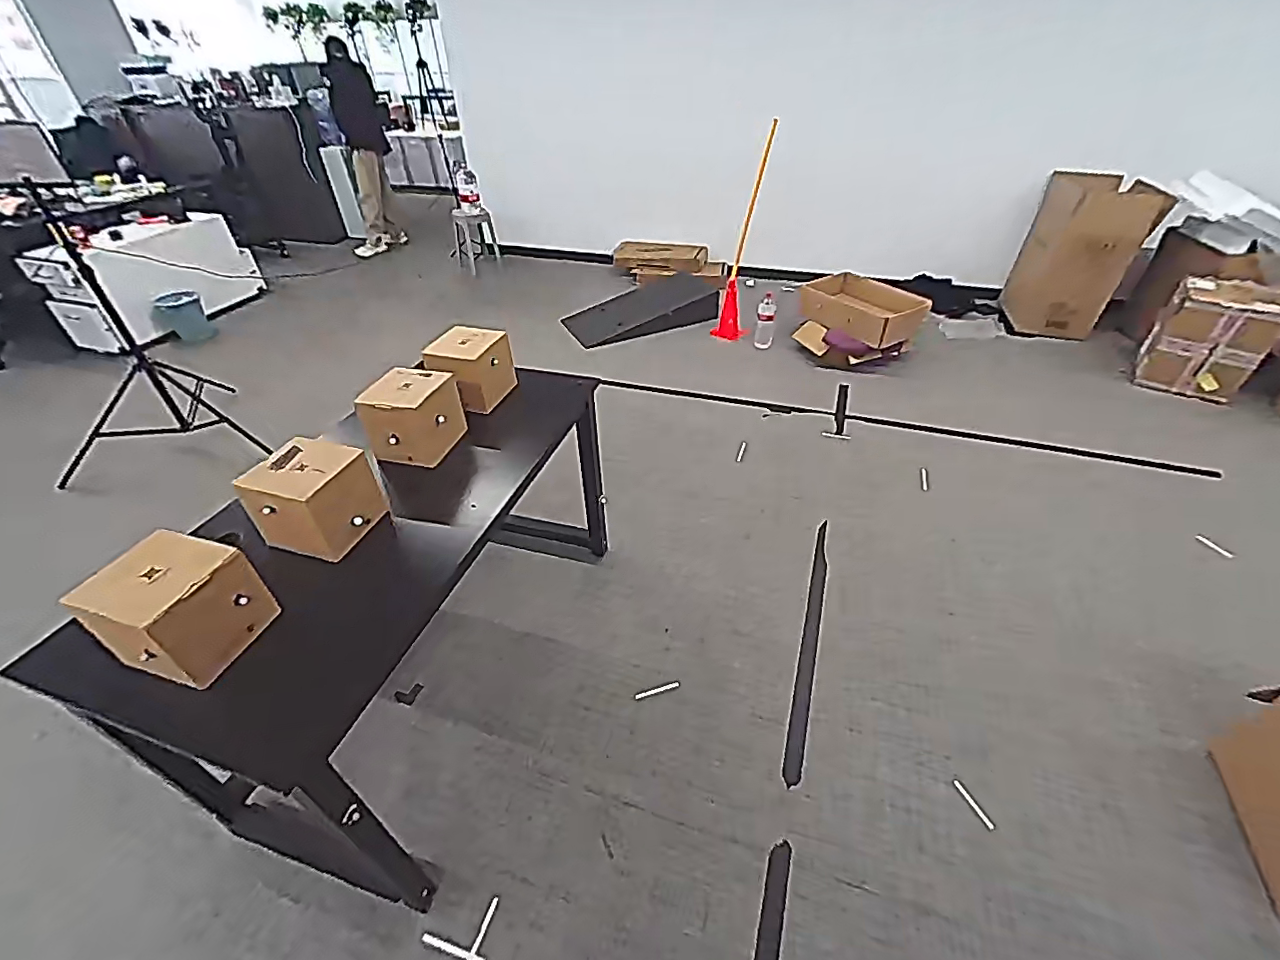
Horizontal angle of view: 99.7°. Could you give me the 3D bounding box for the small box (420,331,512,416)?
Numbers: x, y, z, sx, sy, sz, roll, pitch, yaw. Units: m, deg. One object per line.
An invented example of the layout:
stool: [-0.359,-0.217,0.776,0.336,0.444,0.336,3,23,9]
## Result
small box: [-0.477,-0.300,1.520,0.168,0.176,0.179,11,41,14]

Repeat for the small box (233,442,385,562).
small box: [-0.664,0.045,1.106,0.179,0.176,0.168,11,41,13]

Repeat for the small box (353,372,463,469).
small box: [-0.561,-0.147,1.338,0.168,0.176,0.179,8,41,11]

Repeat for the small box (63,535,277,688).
small box: [-0.759,0.219,0.898,0.179,0.176,0.168,9,39,14]
